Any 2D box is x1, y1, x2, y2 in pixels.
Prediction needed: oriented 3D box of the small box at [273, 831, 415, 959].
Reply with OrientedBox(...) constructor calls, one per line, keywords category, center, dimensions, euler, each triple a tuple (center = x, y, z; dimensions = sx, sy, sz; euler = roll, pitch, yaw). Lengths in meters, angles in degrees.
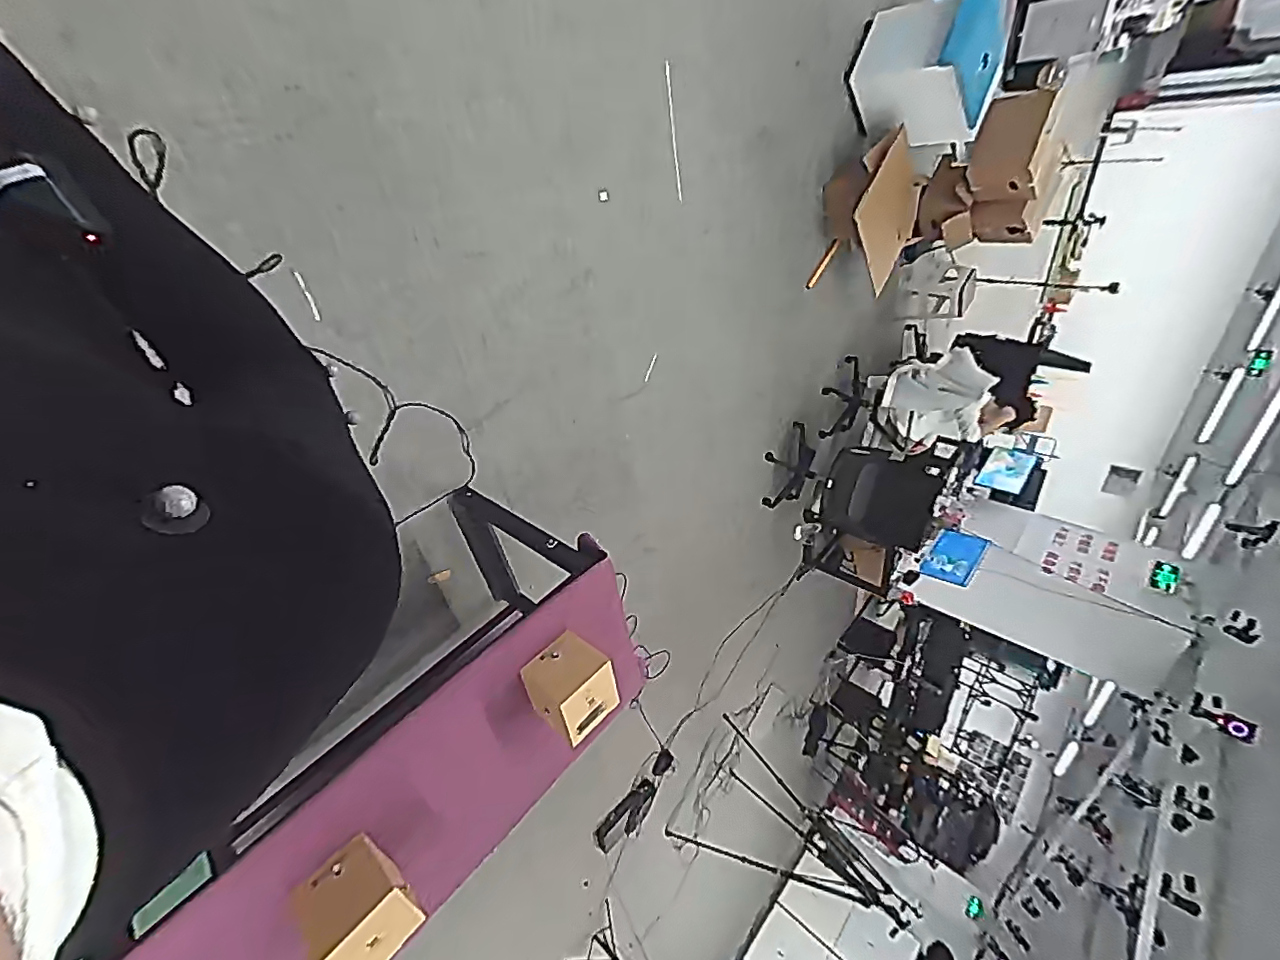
OrientedBox(category="small box", center=(-0.593, 0.860, 1.091), dimensions=(0.168, 0.176, 0.179), euler=(-37, 135, -35))
